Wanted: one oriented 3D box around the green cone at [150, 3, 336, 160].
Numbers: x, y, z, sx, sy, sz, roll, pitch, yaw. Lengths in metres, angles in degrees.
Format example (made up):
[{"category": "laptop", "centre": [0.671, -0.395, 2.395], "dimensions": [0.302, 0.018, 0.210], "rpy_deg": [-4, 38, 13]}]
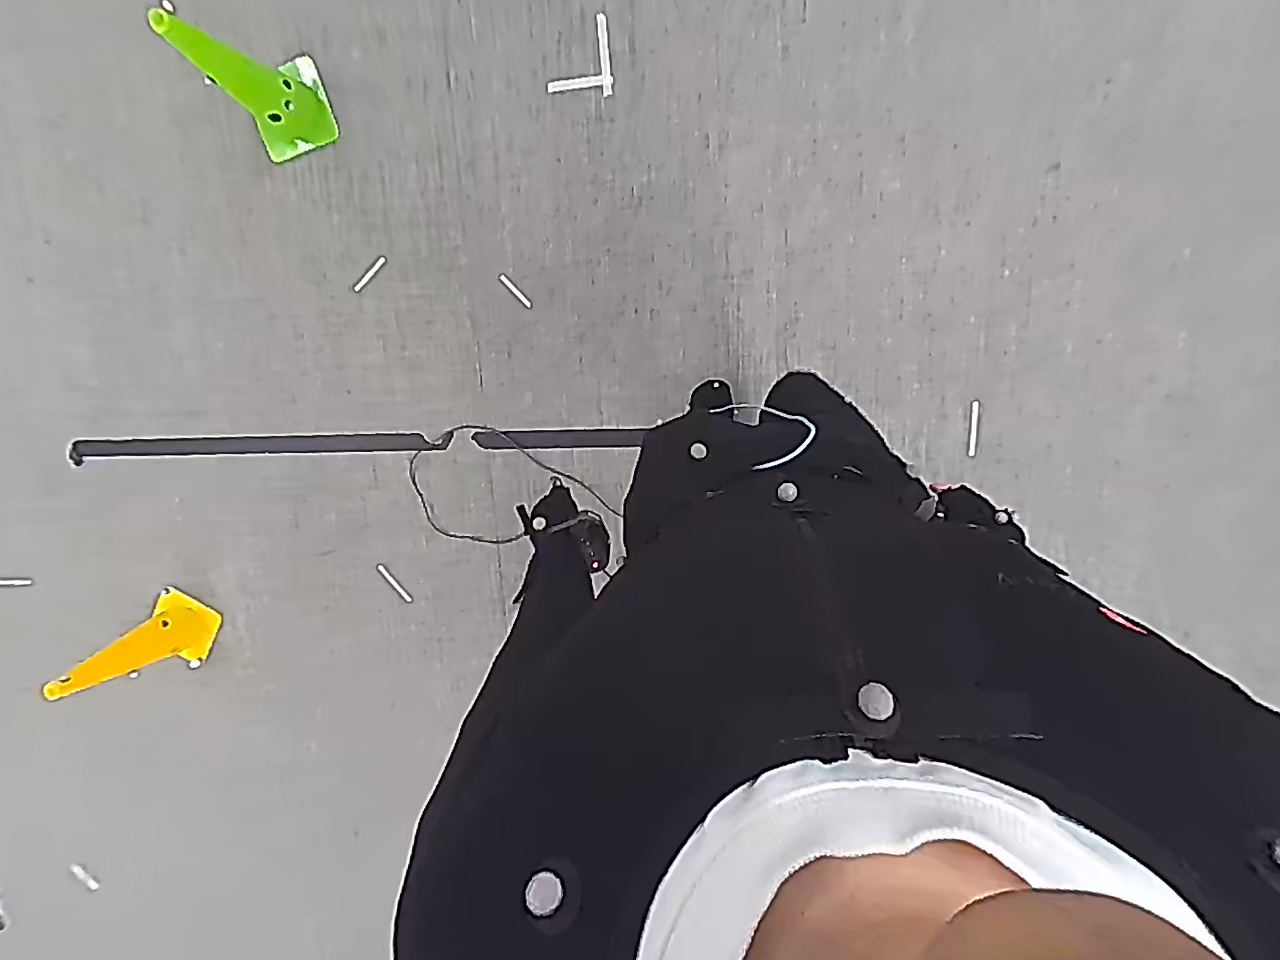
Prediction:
[{"category": "green cone", "centre": [-0.895, -0.902, 1.193], "dimensions": [0.202, 0.368, 0.200], "rpy_deg": [-17, 99, 7]}]
